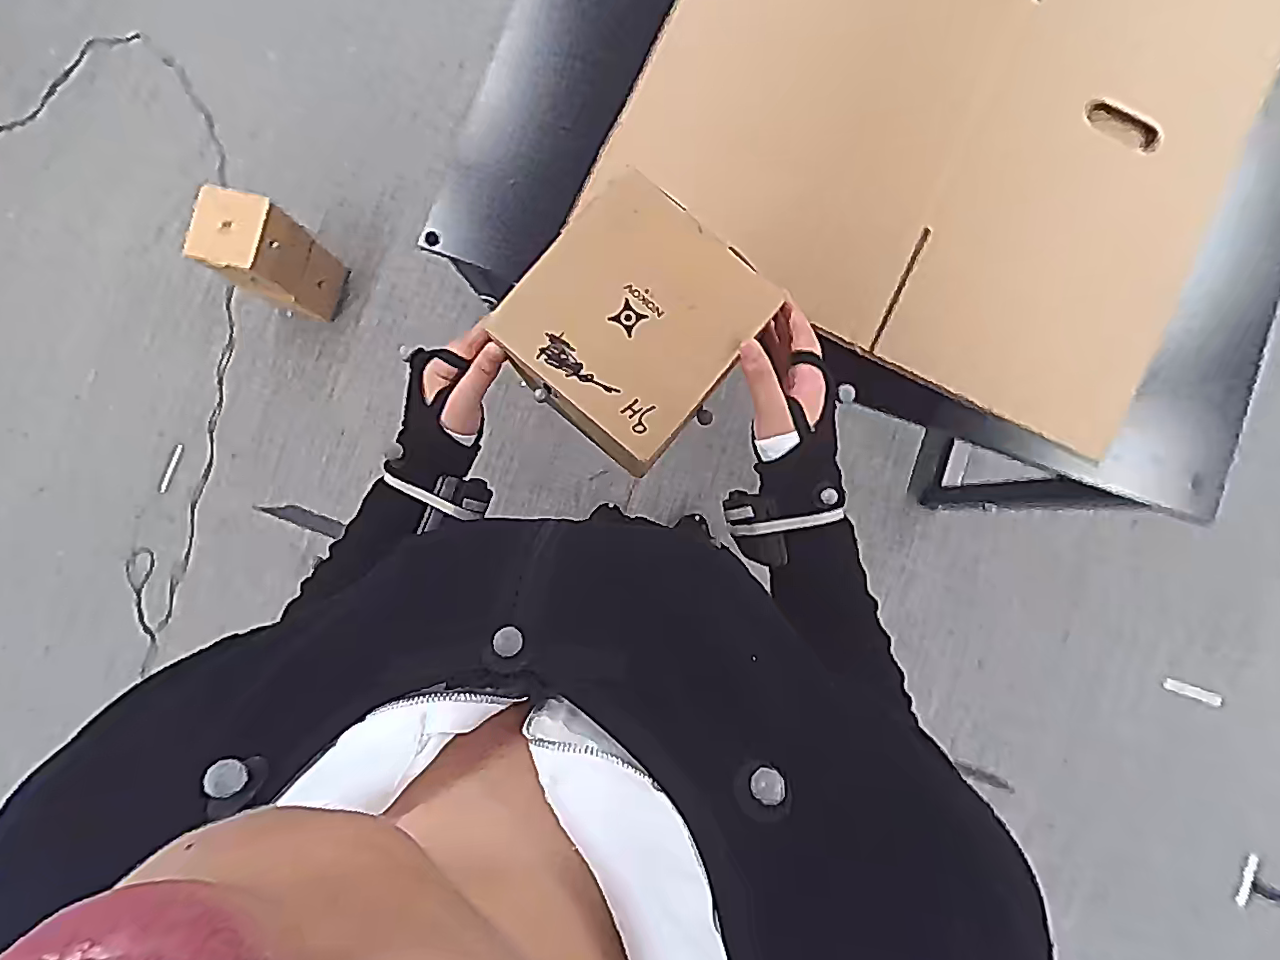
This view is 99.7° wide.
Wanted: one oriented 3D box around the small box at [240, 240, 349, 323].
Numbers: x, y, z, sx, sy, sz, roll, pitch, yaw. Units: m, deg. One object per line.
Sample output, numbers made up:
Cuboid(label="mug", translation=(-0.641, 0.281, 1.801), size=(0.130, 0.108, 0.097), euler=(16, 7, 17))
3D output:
Cuboid(label="small box", translation=(-0.936, -0.559, 1.486), size=(0.168, 0.176, 0.179), euler=(17, 87, 2))

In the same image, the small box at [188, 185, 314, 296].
Cuboid(label="small box", translation=(-0.939, -0.576, 1.324), size=(0.168, 0.176, 0.179), euler=(13, 85, 1))

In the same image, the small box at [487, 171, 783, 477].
Cuboid(label="small box", translation=(-0.006, -0.123, 0.497), size=(0.168, 0.176, 0.179), euler=(41, 85, 3))
